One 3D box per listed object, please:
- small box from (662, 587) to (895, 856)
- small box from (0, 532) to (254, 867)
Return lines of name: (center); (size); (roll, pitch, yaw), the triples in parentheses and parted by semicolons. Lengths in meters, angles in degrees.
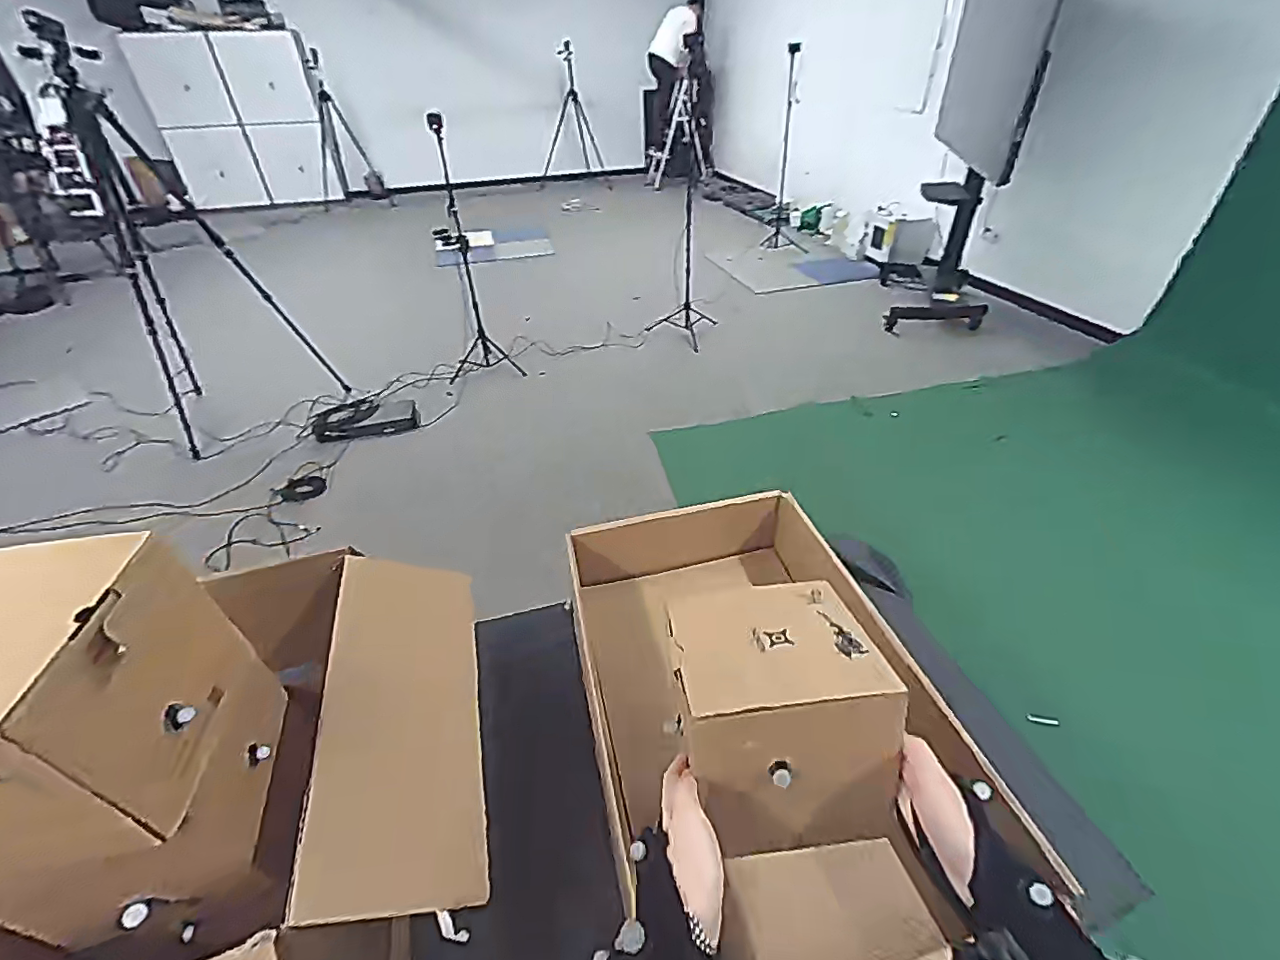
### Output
small box: (0.123, 0.229, 0.529); (0.179, 0.176, 0.168); (-7, 22, -2)
small box: (-0.442, 0.163, 0.401); (0.179, 0.176, 0.168); (-7, 39, -7)
